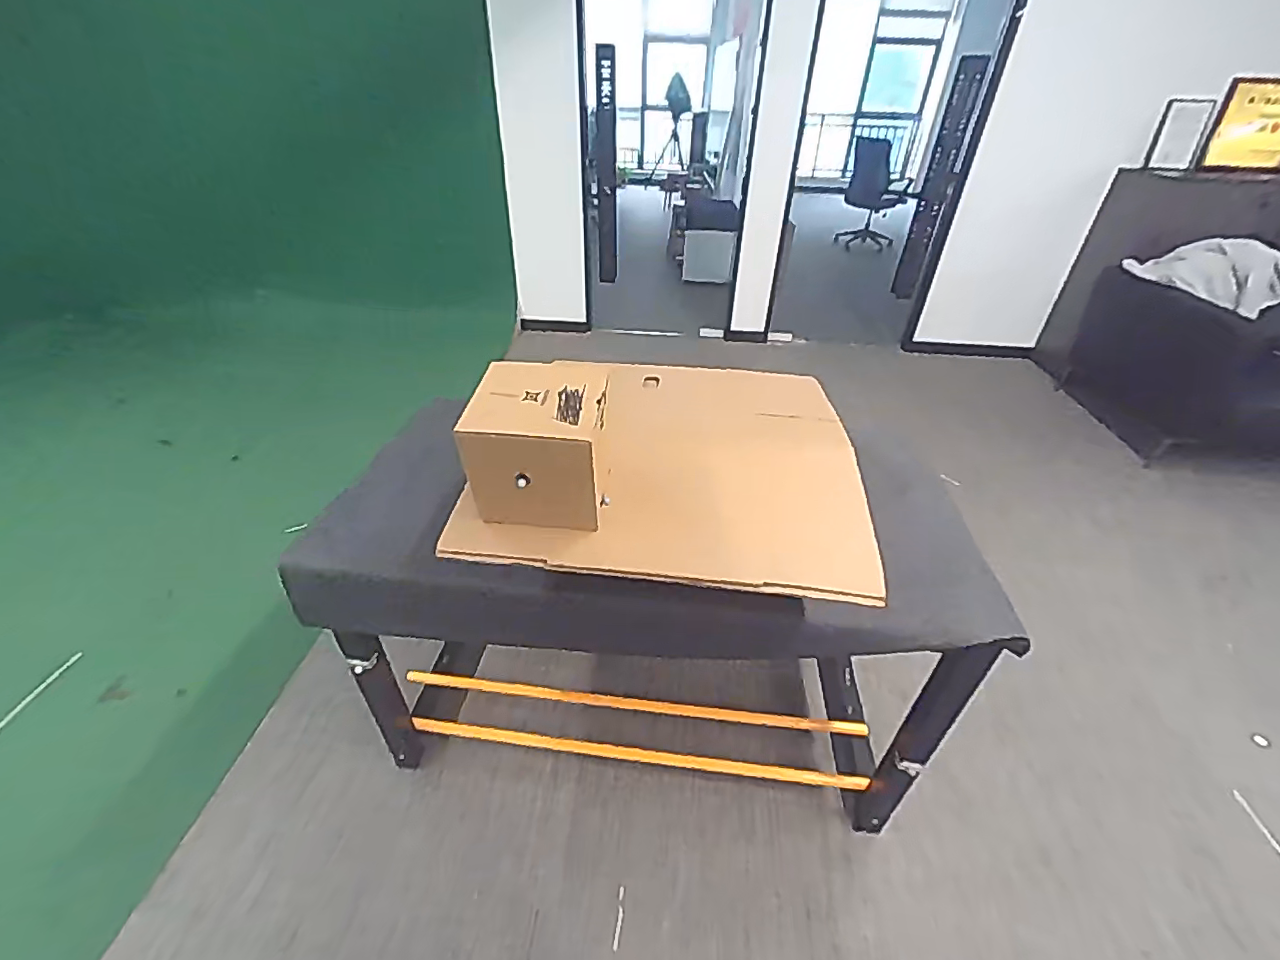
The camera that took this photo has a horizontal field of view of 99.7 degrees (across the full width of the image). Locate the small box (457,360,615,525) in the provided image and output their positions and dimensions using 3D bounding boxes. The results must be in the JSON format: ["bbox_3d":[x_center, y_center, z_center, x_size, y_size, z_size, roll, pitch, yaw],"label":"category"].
[{"bbox_3d":[-0.132,-0.051,0.776,0.179,0.176,0.168,4,44,5],"label":"small box"}]
